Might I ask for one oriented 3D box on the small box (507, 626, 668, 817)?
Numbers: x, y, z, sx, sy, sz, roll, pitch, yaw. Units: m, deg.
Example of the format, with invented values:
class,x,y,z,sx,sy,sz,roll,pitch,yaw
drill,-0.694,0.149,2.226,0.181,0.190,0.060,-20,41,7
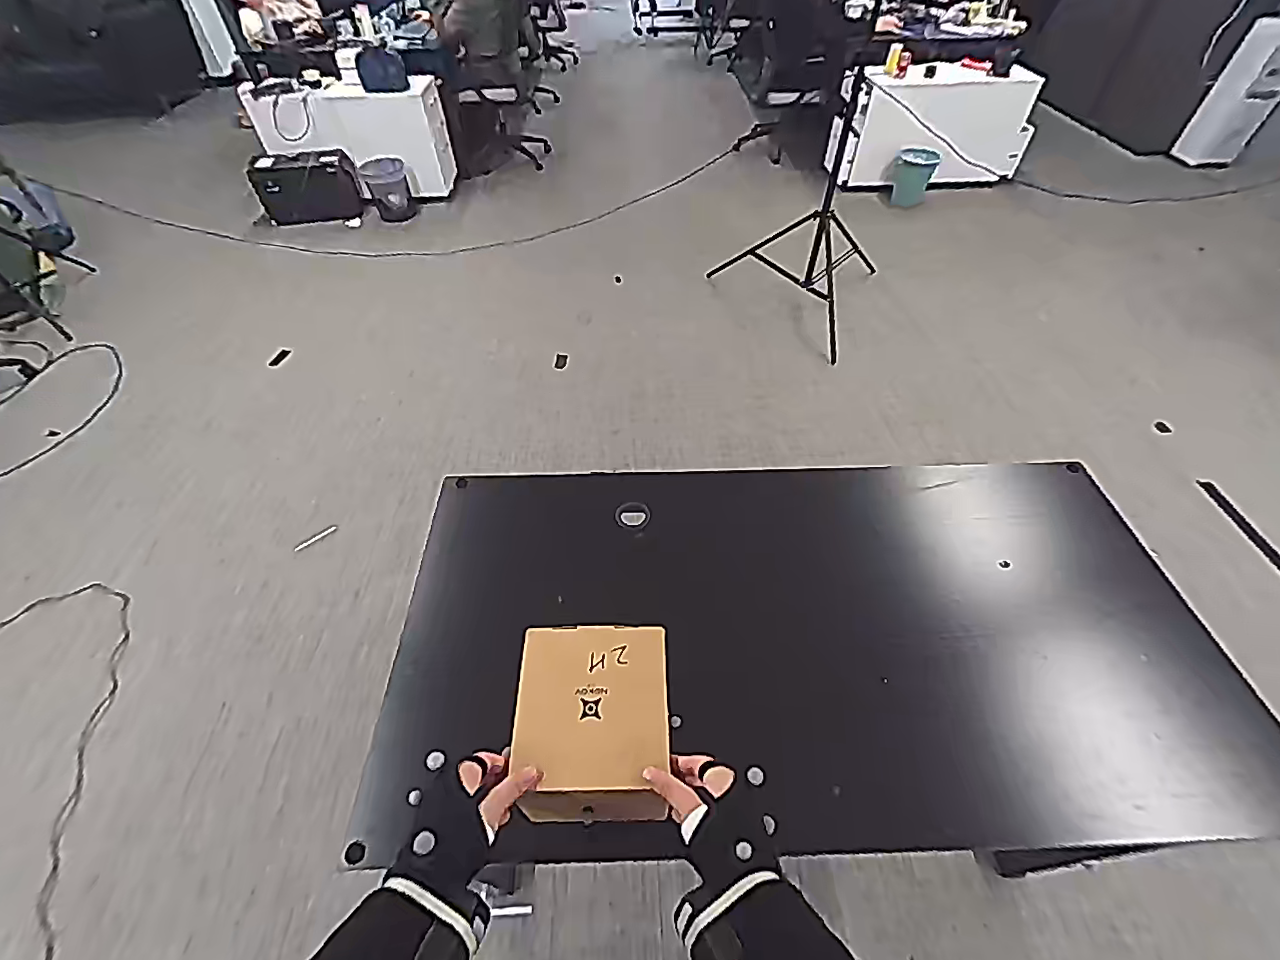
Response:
class,x,y,z,sx,sy,sz,roll,pitch,yaw
small box,-0.051,0.294,0.651,0.168,0.176,0.179,-1,48,0
